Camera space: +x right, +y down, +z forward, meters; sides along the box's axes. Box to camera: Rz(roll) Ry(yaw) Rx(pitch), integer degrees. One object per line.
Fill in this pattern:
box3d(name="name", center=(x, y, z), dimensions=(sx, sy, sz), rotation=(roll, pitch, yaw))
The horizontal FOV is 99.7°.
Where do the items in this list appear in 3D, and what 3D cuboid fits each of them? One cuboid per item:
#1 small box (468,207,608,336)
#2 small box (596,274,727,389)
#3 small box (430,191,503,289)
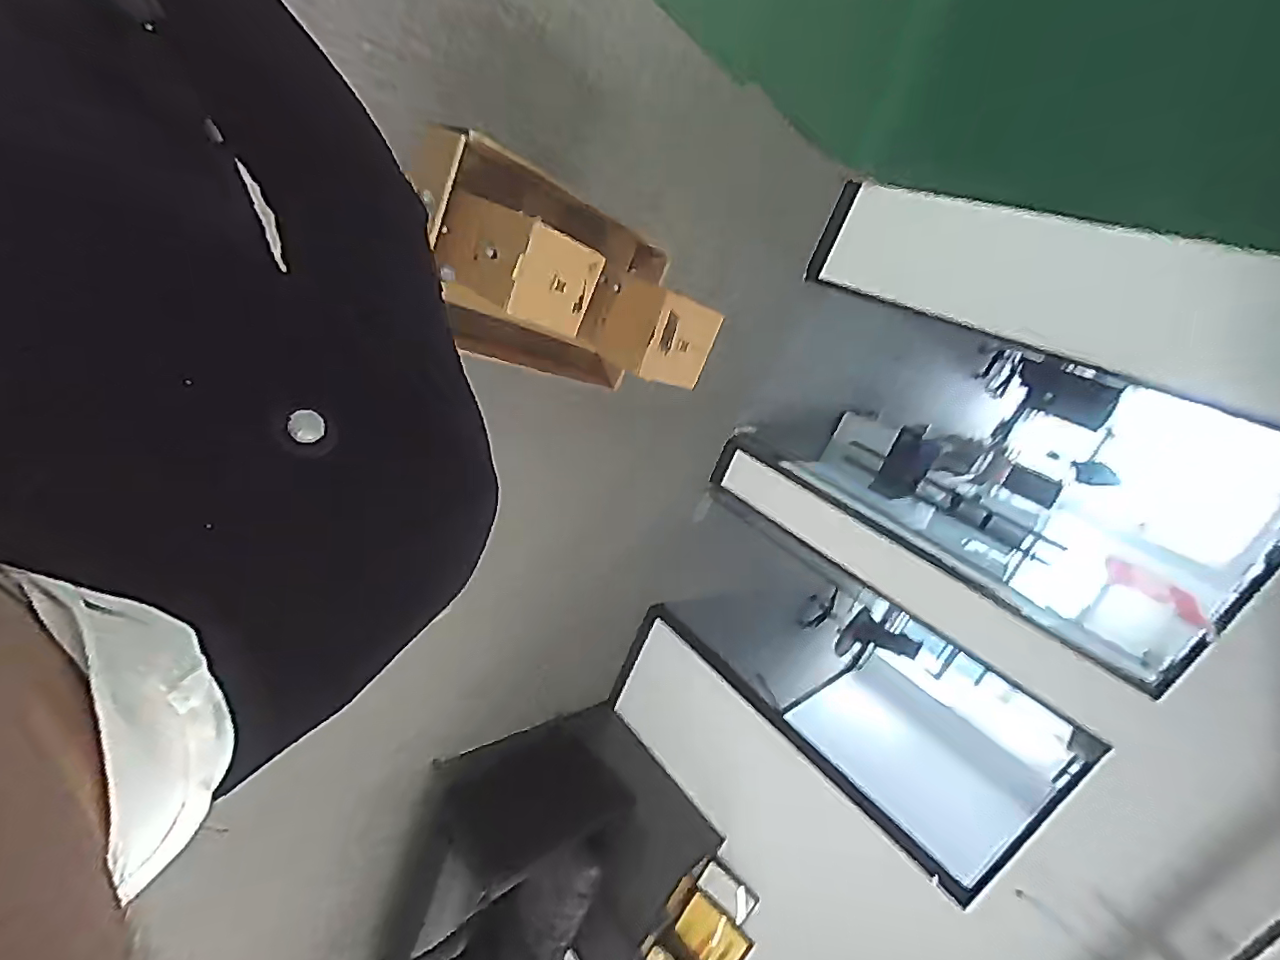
box3d(name="small box", center=(-0.201, -0.403, 1.040), dimensions=(0.179, 0.176, 0.168), rotation=(6, 115, -49))
box3d(name="small box", center=(0.037, -0.306, 1.109), dimensions=(0.179, 0.176, 0.168), rotation=(3, 118, -46))
box3d(name="small box", center=(-0.306, -0.482, 1.136), dimensions=(0.179, 0.176, 0.168), rotation=(6, 115, -50))
